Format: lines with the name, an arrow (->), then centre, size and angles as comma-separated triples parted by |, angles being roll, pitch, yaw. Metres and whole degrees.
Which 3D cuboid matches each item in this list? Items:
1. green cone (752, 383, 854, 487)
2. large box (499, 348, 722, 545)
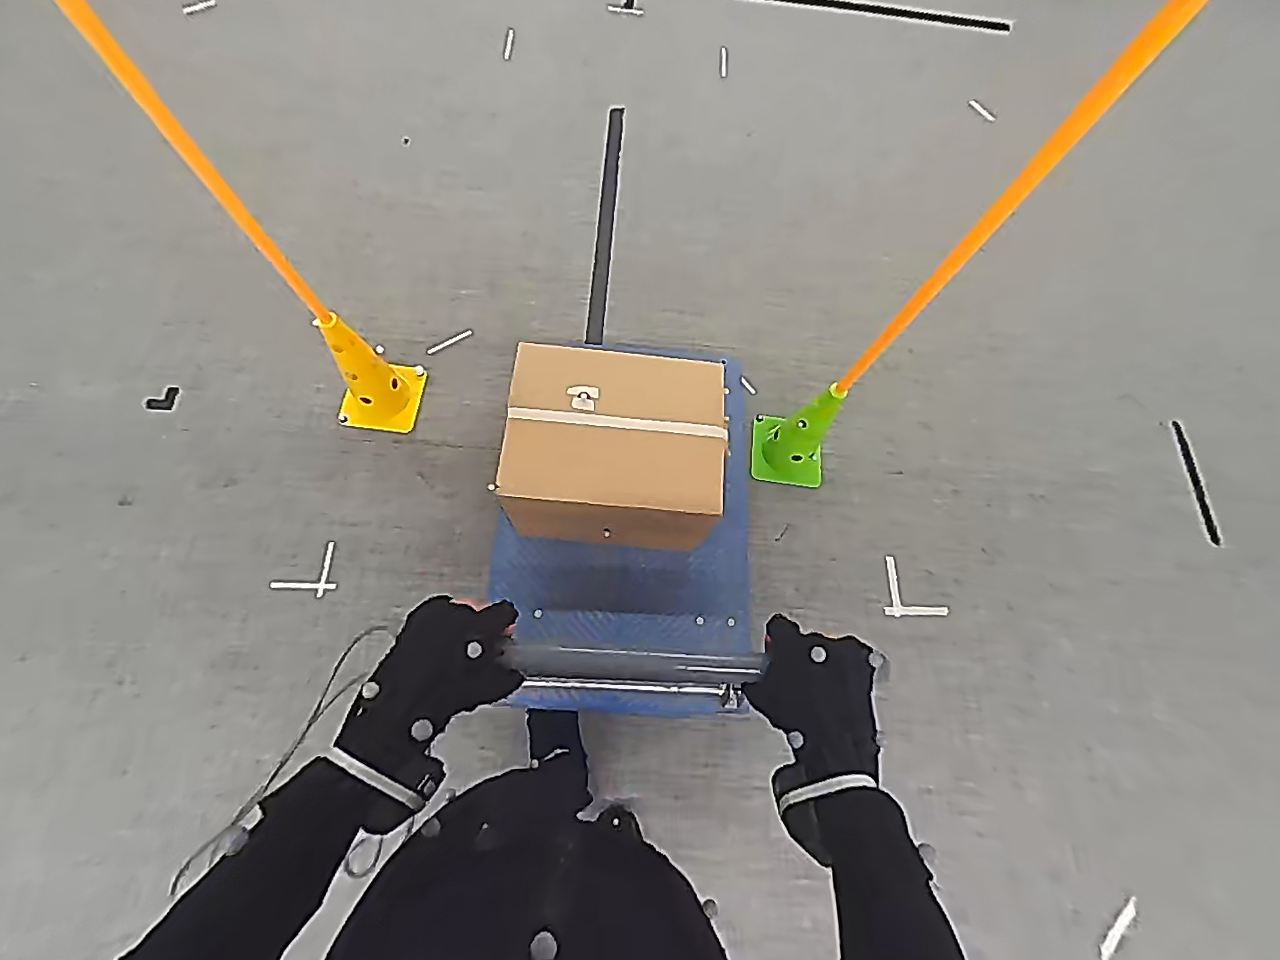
green cone -> 0.438, -0.139, 1.381 | 0.202, 0.368, 0.200 | 9, 71, -3
large box -> -0.052, -0.051, 1.150 | 0.408, 0.320, 0.320 | 5, 70, -2
